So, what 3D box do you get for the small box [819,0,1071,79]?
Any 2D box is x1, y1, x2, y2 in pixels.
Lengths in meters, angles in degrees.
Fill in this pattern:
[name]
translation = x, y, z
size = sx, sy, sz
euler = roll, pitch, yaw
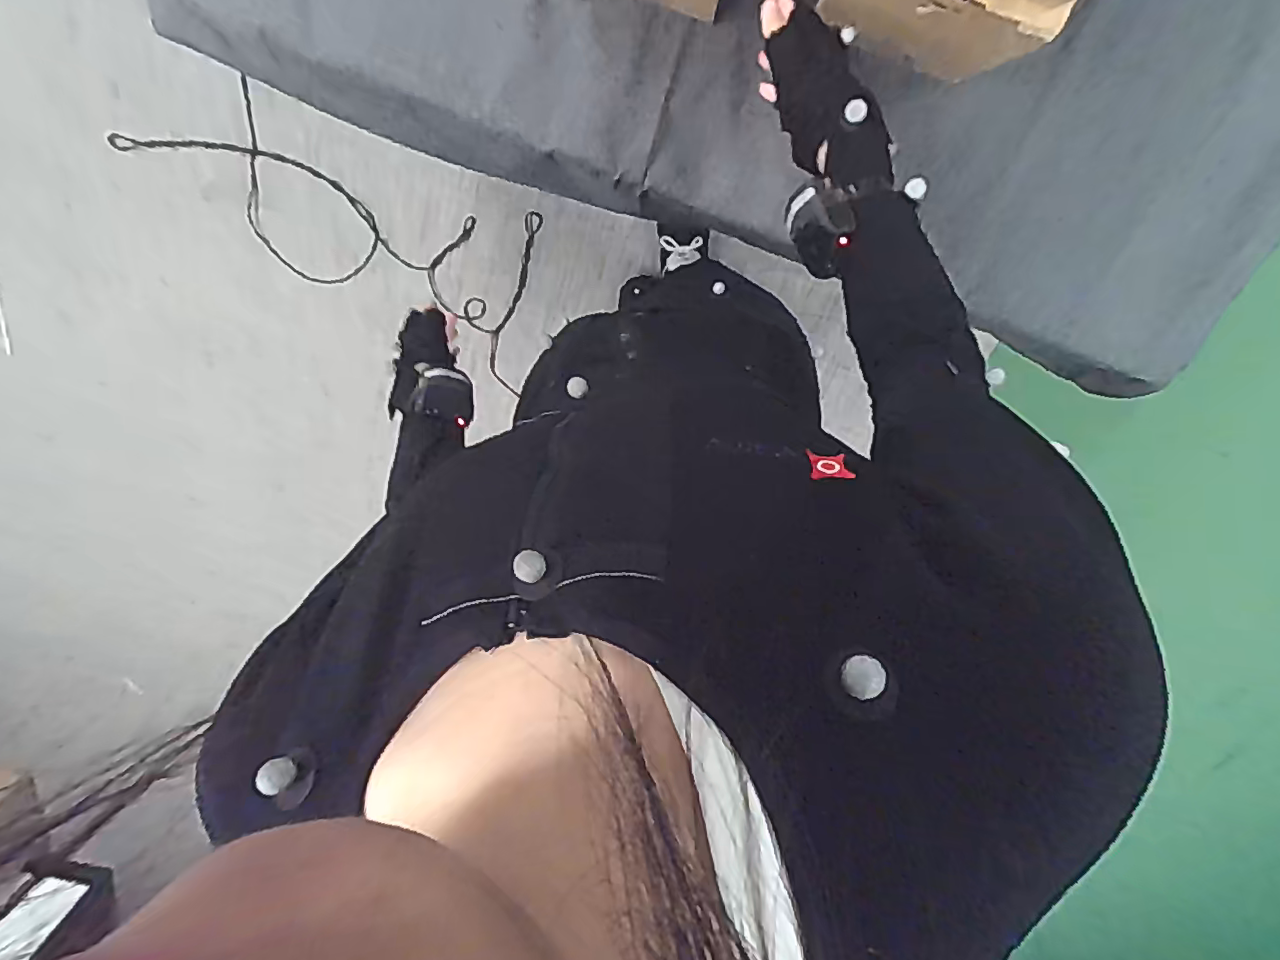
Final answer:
[small box]
translation = 0.262, -0.461, 0.434
size = 0.168, 0.176, 0.179
euler = 17, 116, -5
